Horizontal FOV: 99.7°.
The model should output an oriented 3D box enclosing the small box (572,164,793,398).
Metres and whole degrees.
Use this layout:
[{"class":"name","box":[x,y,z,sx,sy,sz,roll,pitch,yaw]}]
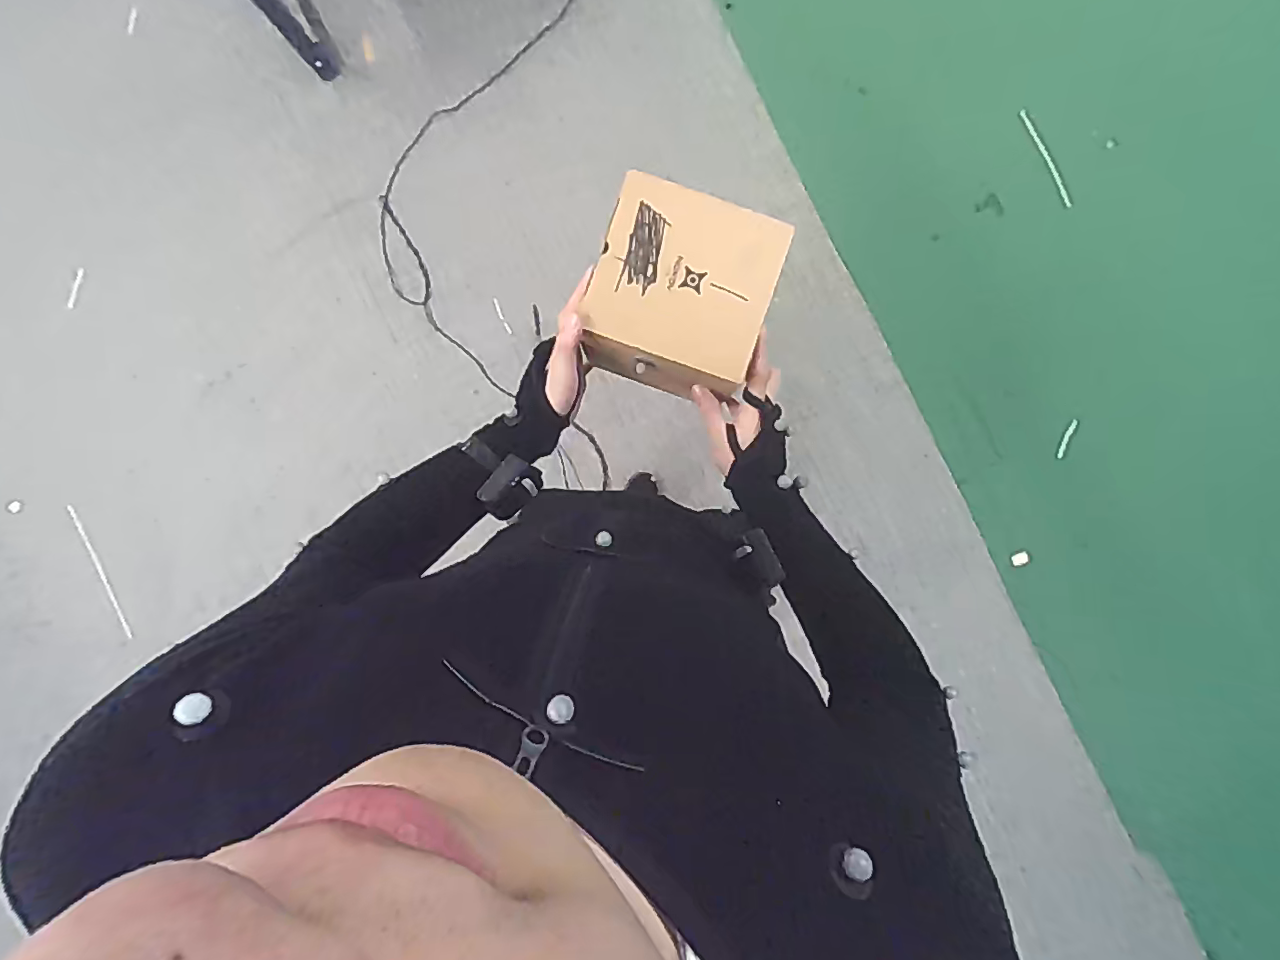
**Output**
[{"class":"small box","box":[0.040,-0.202,0.601,0.179,0.176,0.168,19,89,-1]}]
